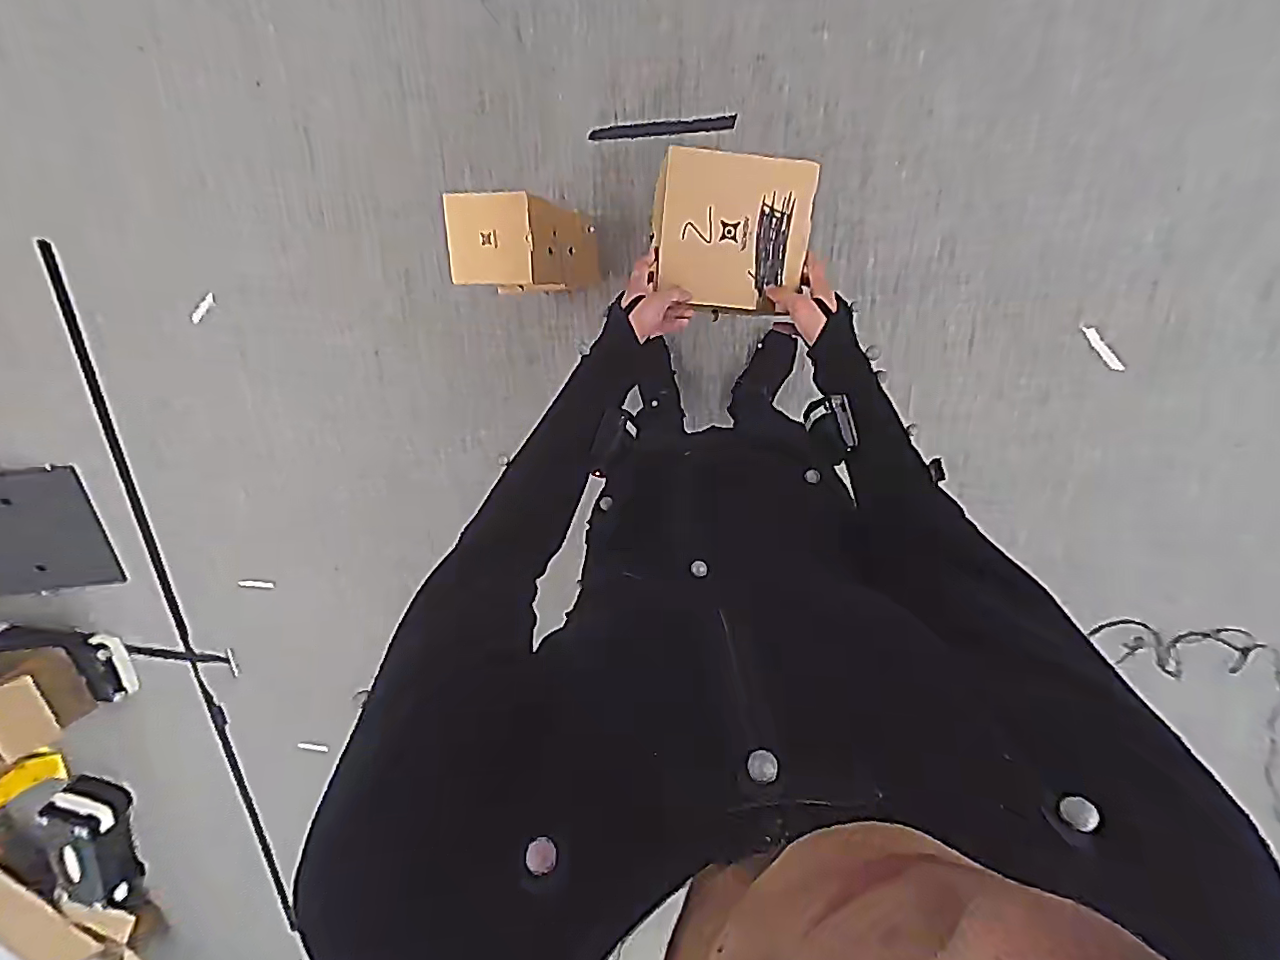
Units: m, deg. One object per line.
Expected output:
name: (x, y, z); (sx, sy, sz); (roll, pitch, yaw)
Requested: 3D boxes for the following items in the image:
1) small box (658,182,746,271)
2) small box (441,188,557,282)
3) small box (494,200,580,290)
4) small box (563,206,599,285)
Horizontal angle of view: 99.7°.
small box: (0.137, -0.558, 1.204); (0.179, 0.176, 0.168); (4, 110, 7)
small box: (-0.284, -0.500, 1.121); (0.179, 0.176, 0.168); (3, 110, 9)
small box: (-0.247, -0.545, 1.273); (0.168, 0.176, 0.179); (-1, 110, 11)
small box: (-0.214, -0.605, 1.422); (0.168, 0.176, 0.179); (-3, 110, 11)
